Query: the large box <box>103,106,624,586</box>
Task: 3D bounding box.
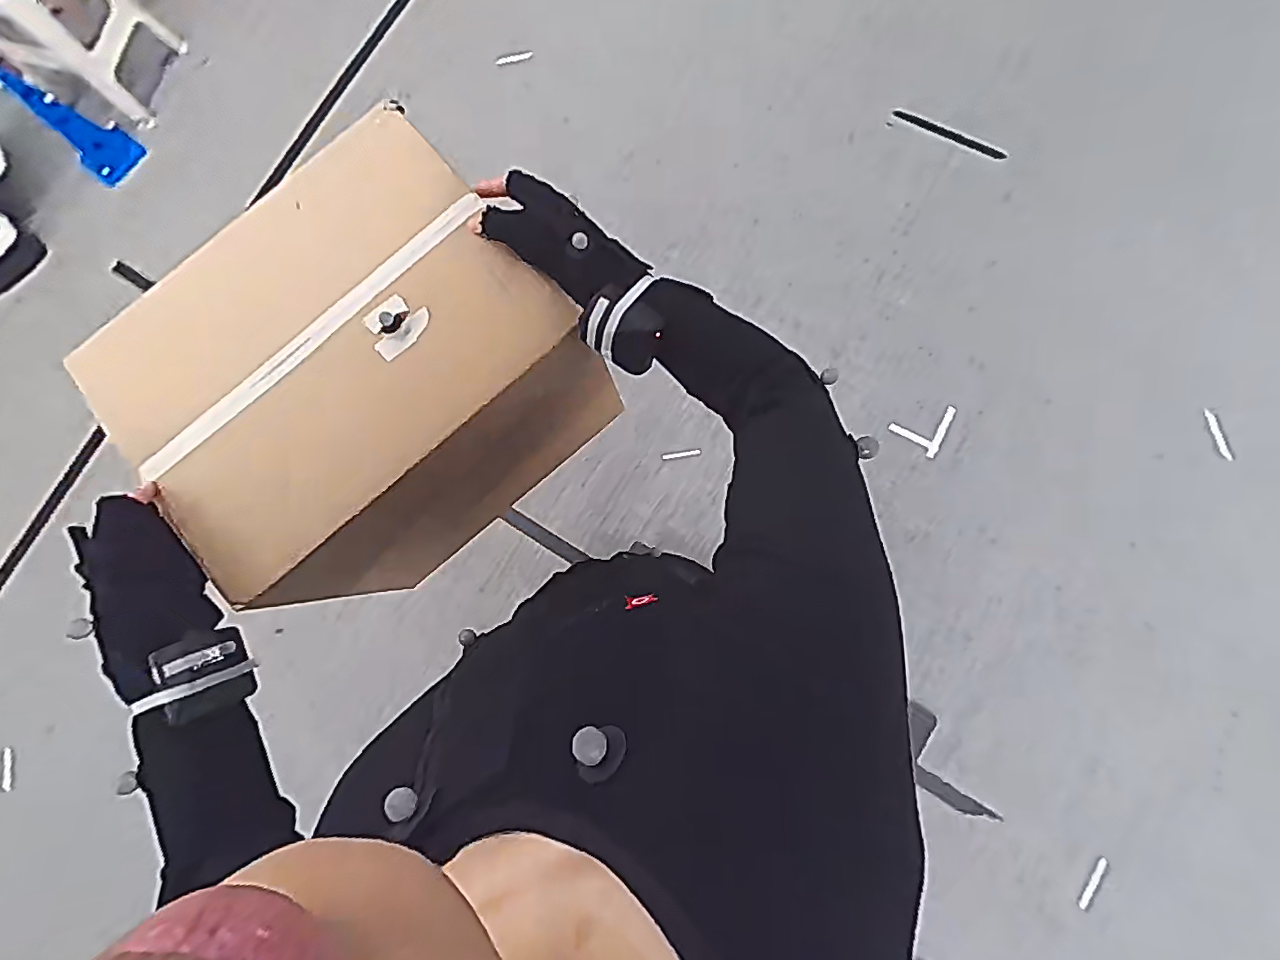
[{"bbox_3d":[-0.278,-0.118,0.664,0.408,0.320,0.320,-40,81,-2],"label":"large box"}]
